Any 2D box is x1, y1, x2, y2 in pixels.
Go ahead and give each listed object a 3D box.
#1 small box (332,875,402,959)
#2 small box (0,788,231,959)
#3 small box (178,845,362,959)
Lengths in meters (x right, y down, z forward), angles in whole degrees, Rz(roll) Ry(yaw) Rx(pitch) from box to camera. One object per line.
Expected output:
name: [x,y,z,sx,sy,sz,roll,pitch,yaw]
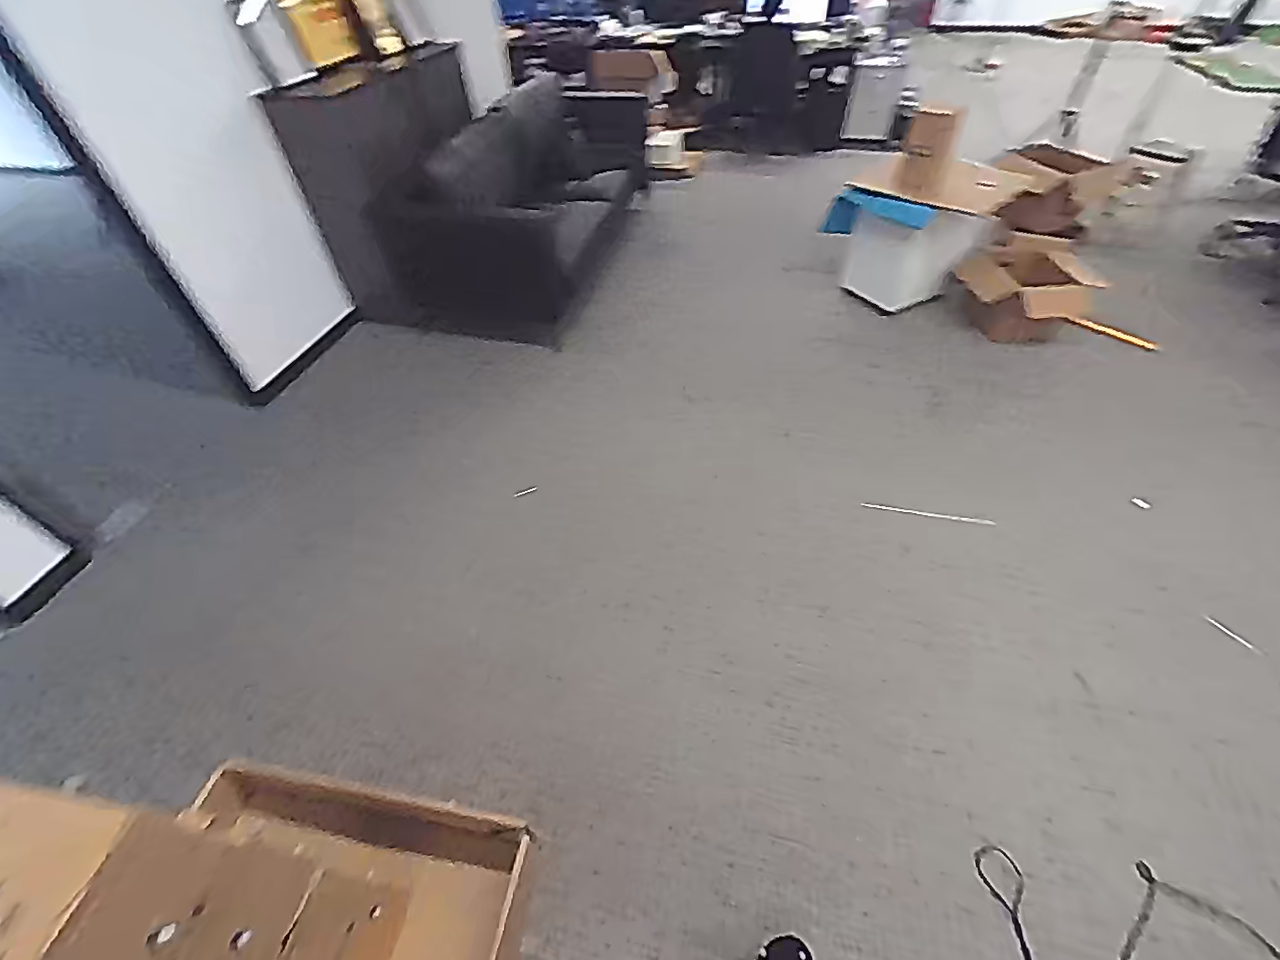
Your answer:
small box: [-0.513,0.747,0.864,0.168,0.176,0.179,4,47,9]
small box: [-0.552,0.411,0.504,0.179,0.176,0.168,4,48,9]
small box: [-0.528,0.632,0.747,0.179,0.176,0.168,5,46,10]
